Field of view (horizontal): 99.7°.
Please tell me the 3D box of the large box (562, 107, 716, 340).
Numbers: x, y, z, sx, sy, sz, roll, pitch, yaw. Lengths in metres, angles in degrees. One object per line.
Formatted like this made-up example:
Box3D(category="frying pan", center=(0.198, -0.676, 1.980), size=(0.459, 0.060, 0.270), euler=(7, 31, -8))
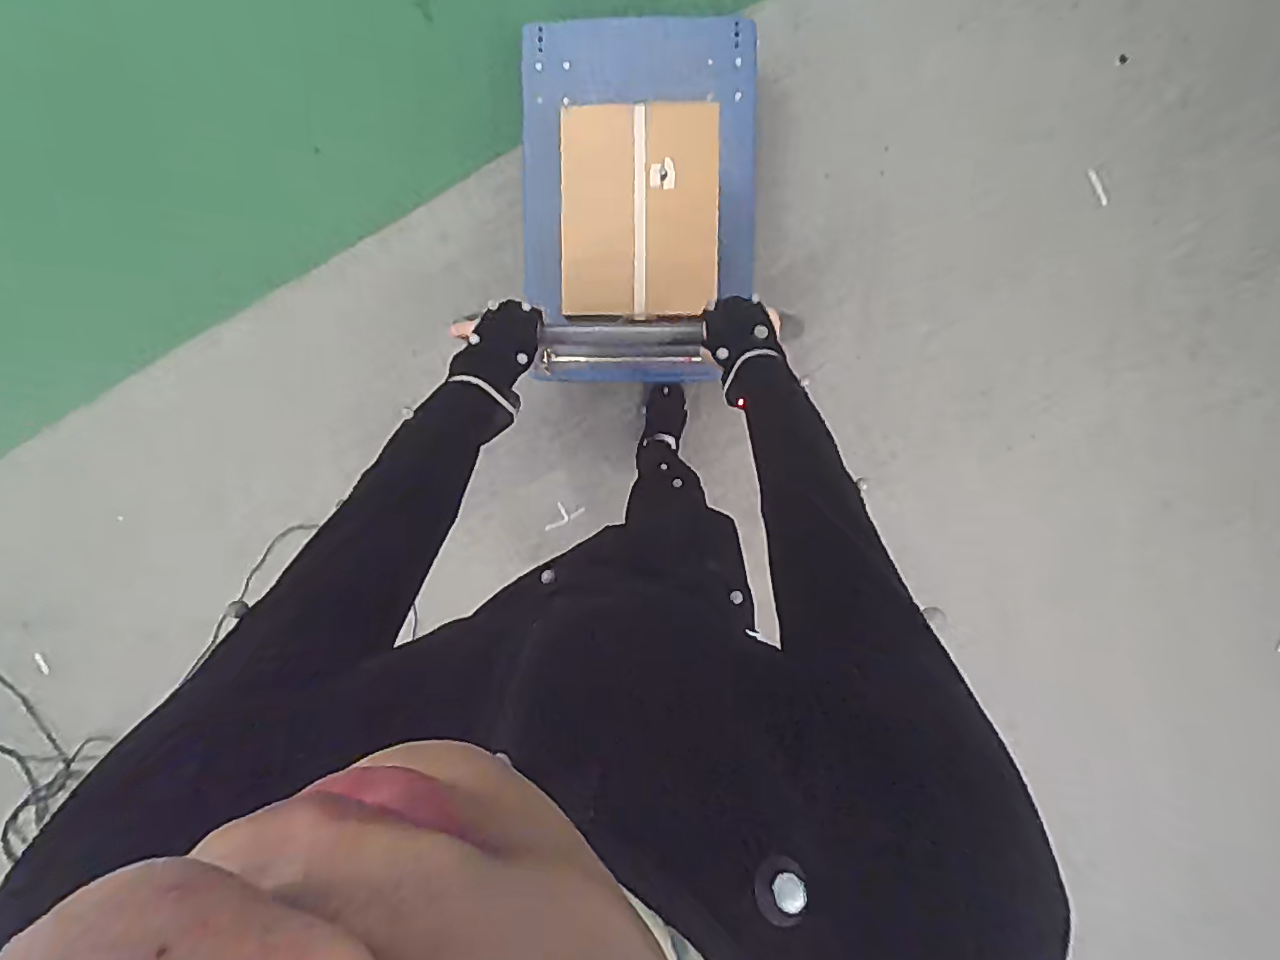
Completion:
Box3D(category="large box", center=(0.003, -0.550, 1.236), size=(0.320, 0.320, 0.408), euler=(1, 94, 2))
